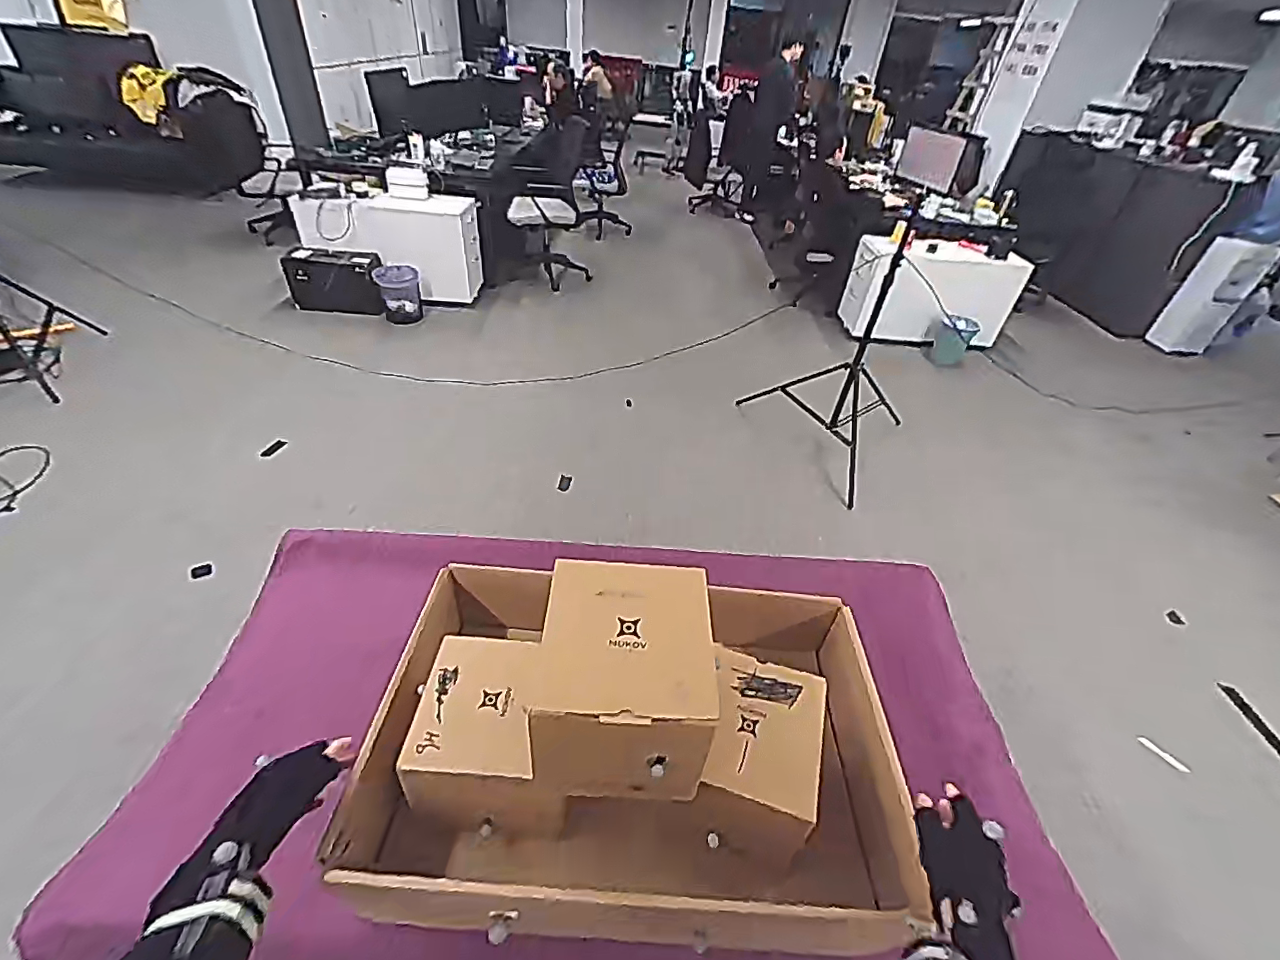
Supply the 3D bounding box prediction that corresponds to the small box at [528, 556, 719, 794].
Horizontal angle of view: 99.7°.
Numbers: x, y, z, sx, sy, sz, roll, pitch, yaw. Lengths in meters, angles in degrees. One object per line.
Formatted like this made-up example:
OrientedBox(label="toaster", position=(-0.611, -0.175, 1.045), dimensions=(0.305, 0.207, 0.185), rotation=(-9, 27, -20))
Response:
OrientedBox(label="small box", position=(-0.018, 0.205, 0.567), dimensions=(0.168, 0.176, 0.179), rotation=(5, 38, -3))
